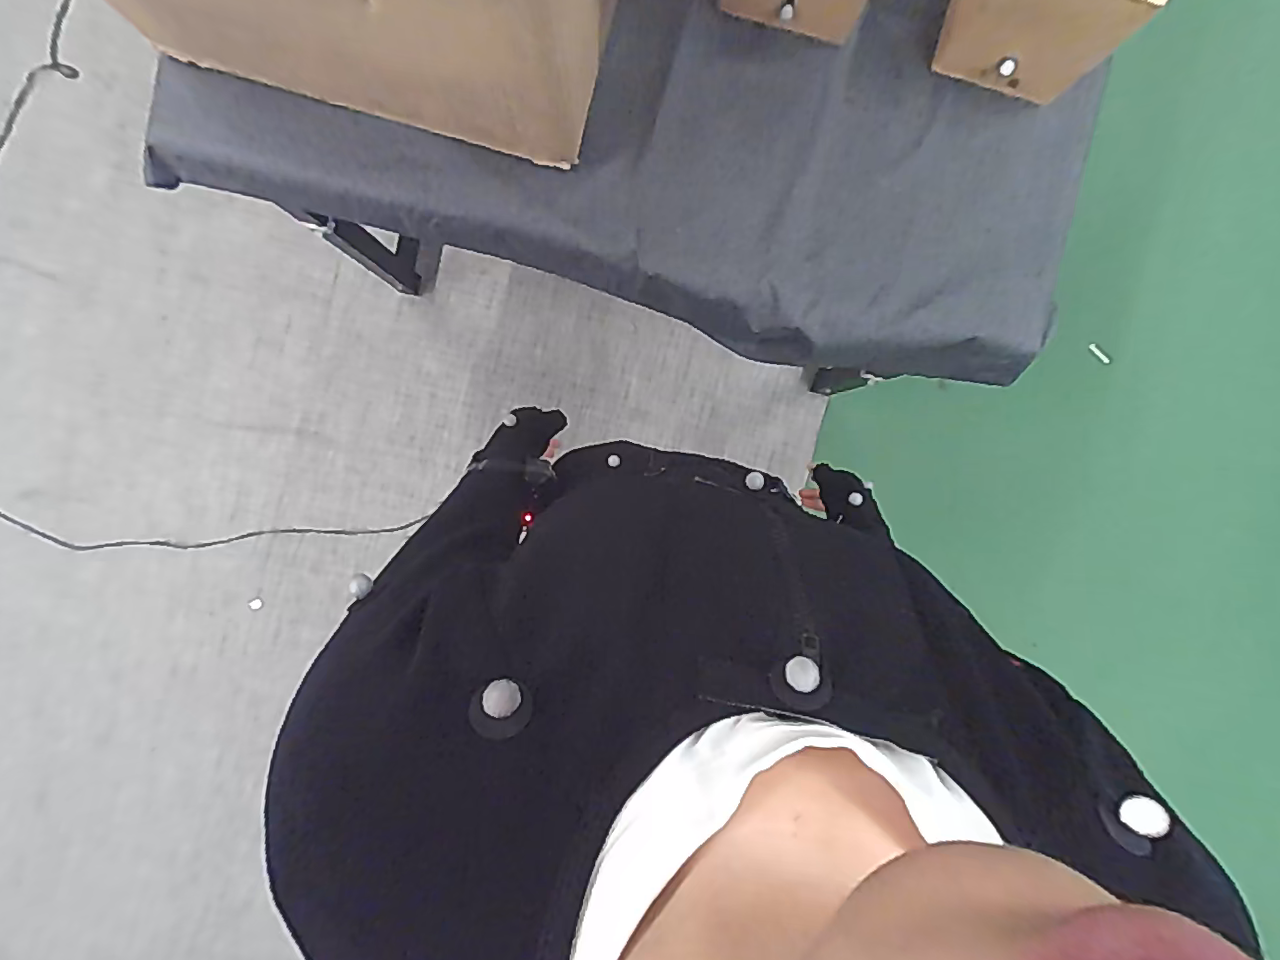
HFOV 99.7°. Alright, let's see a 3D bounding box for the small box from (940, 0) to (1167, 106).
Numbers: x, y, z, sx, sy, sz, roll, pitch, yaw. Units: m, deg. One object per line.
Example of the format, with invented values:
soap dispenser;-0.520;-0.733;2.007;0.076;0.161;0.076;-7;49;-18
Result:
small box;0.497;-0.604;0.645;0.168;0.176;0.179;16;93;-2
